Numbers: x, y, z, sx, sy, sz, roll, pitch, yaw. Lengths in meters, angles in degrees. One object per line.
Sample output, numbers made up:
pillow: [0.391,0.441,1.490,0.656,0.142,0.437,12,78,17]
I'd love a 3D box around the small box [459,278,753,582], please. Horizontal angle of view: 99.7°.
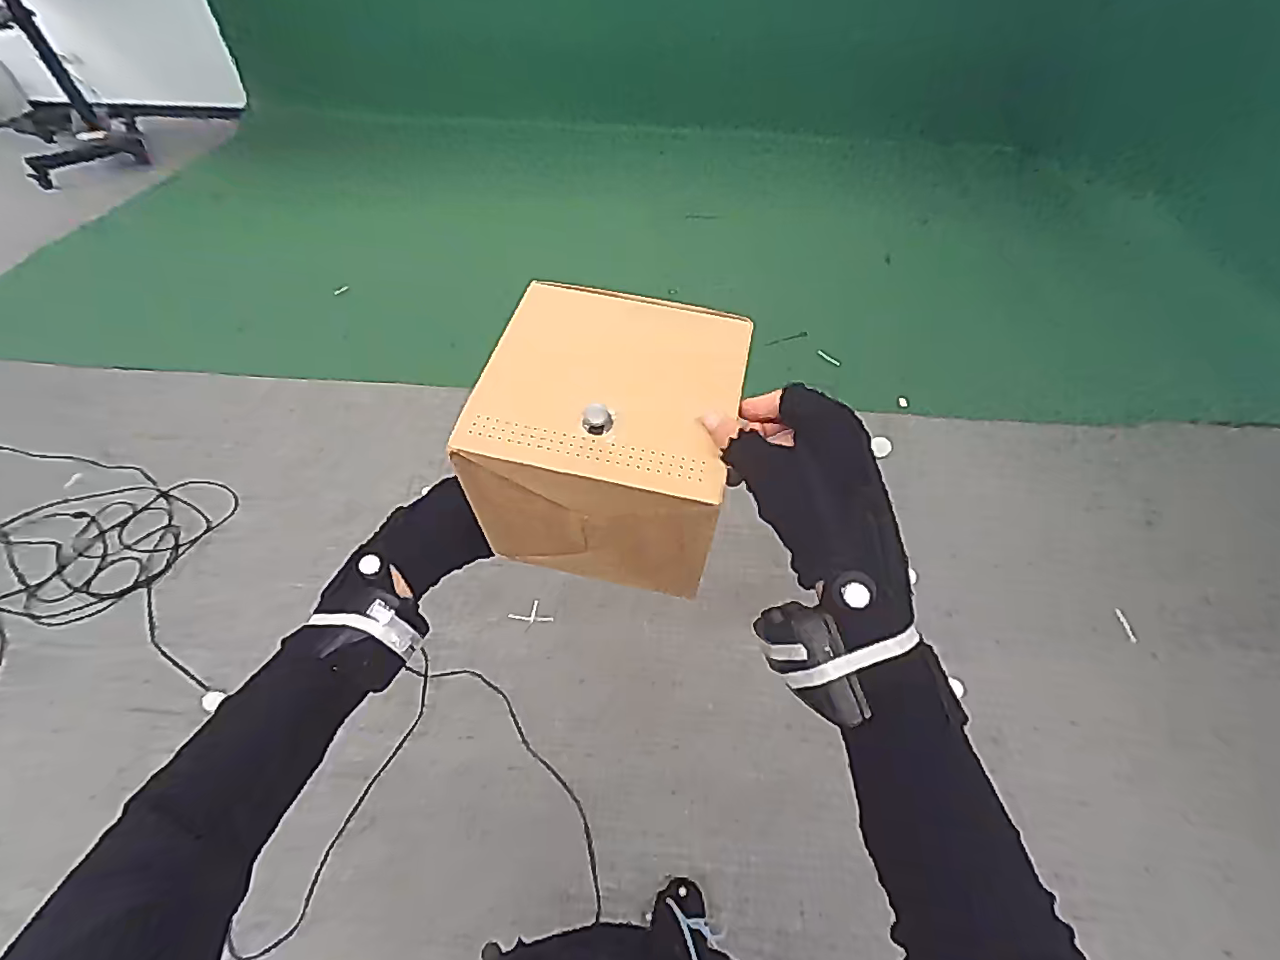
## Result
small box: [-0.019,-0.032,0.446,0.179,0.168,0.176,13,58,4]
